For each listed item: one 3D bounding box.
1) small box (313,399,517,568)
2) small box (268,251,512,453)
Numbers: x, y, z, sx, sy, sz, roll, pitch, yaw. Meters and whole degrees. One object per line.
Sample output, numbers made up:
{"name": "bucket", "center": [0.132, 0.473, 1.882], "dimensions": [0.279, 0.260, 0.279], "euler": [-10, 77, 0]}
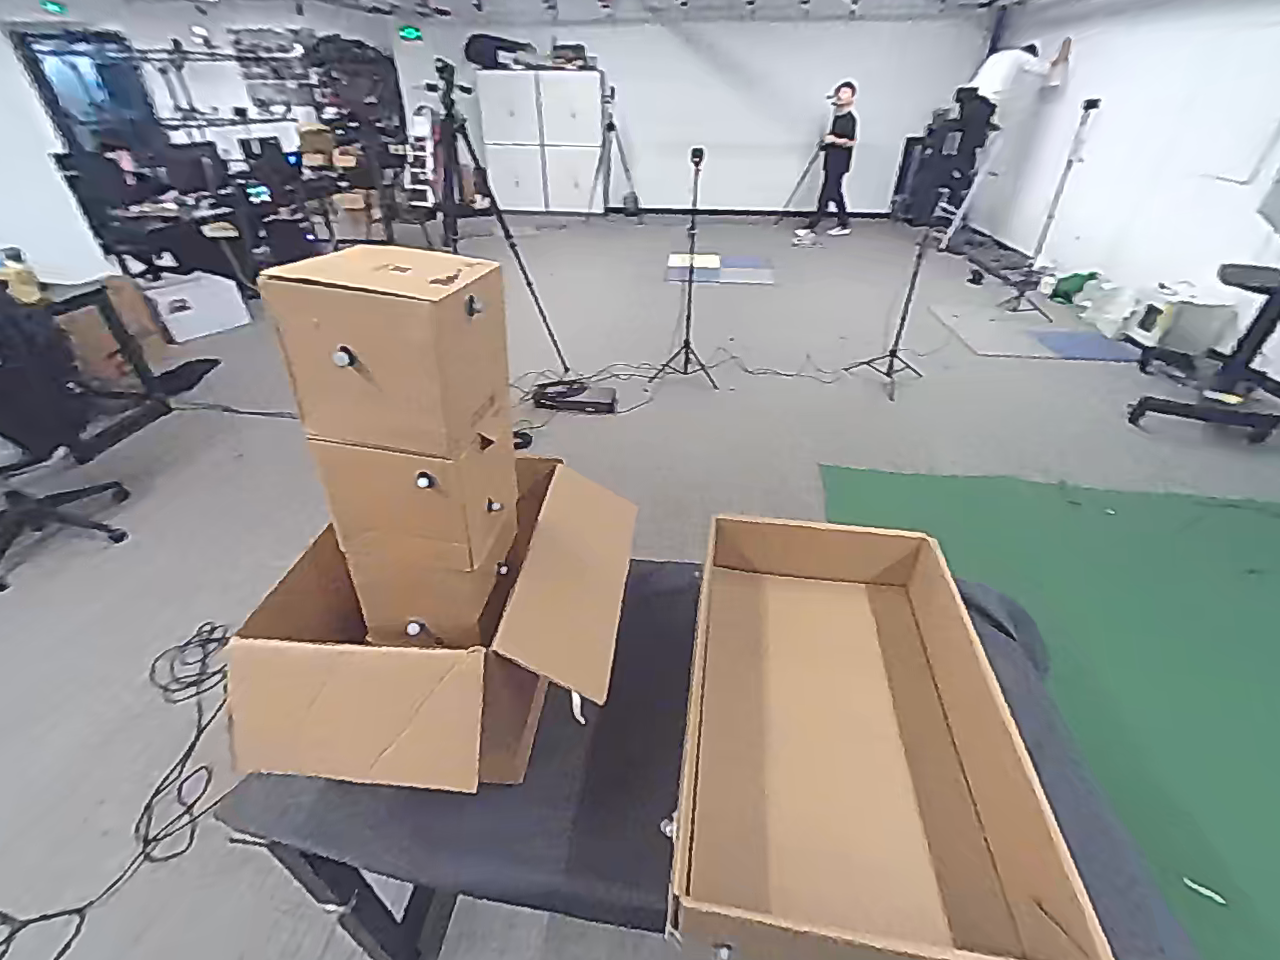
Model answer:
{"name": "small box", "center": [-0.268, -0.007, 0.691], "dimensions": [0.179, 0.176, 0.168], "euler": [8, 34, 3]}
{"name": "small box", "center": [-0.255, -0.145, 0.602], "dimensions": [0.179, 0.176, 0.168], "euler": [9, 34, 5]}
